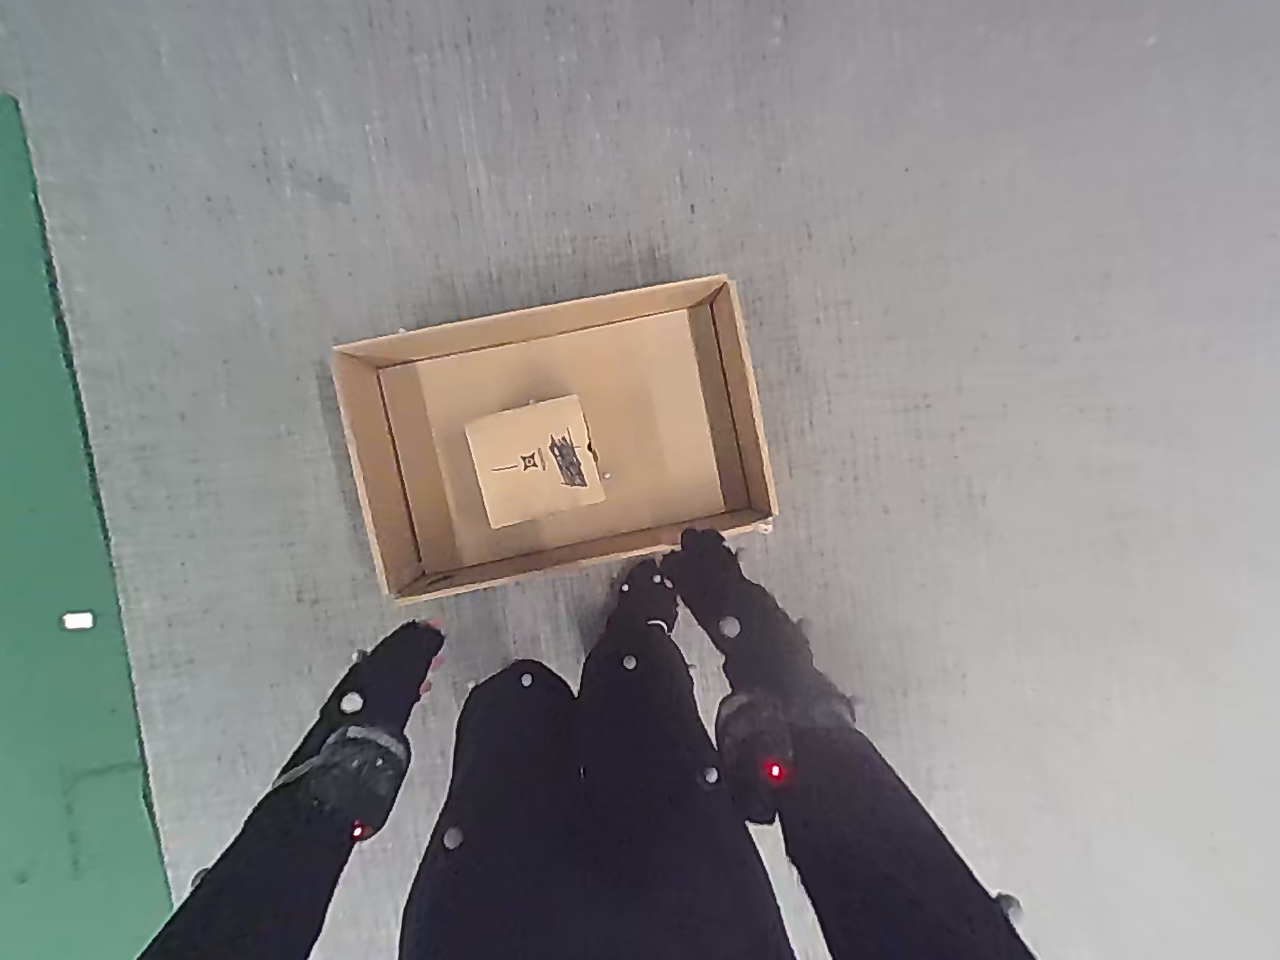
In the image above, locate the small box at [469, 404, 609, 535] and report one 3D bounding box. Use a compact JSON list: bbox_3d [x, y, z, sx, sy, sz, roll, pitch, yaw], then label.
[{"bbox_3d":[-0.151,-0.019,0.872,0.179,0.176,0.168,-13,92,-1],"label":"small box"}]
